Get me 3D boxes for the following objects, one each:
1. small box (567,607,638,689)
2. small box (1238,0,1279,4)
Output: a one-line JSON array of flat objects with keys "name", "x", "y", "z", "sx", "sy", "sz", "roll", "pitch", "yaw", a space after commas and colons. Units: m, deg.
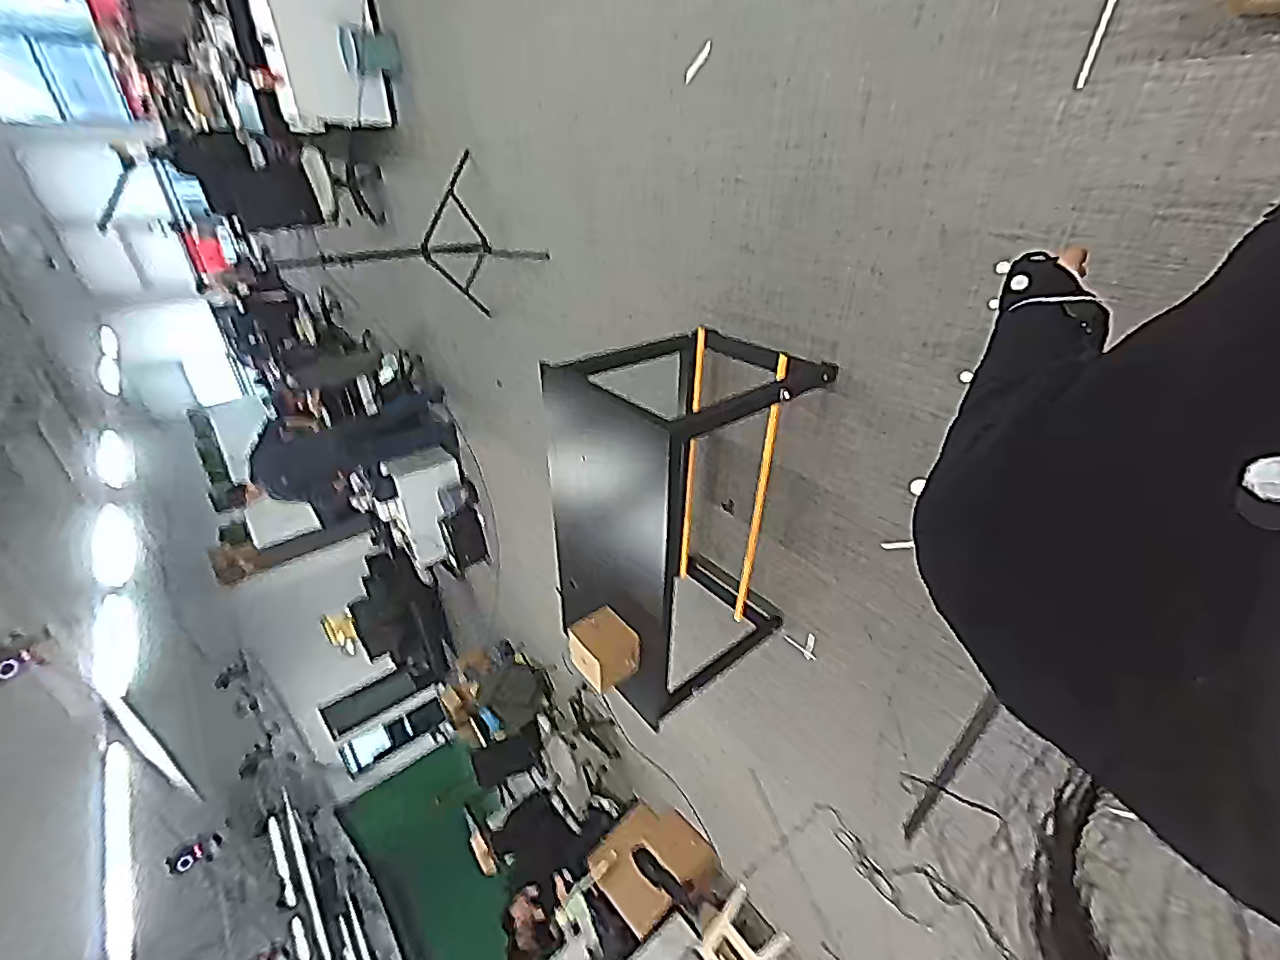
[{"name": "small box", "x": -0.127, "y": 0.556, "z": 1.822, "sx": 0.179, "sy": 0.176, "sz": 0.168, "roll": 33, "pitch": 136, "yaw": 39}, {"name": "small box", "x": 0.981, "y": -0.785, "z": 0.752, "sx": 0.168, "sy": 0.176, "sz": 0.179, "roll": 36, "pitch": 137, "yaw": 38}]
